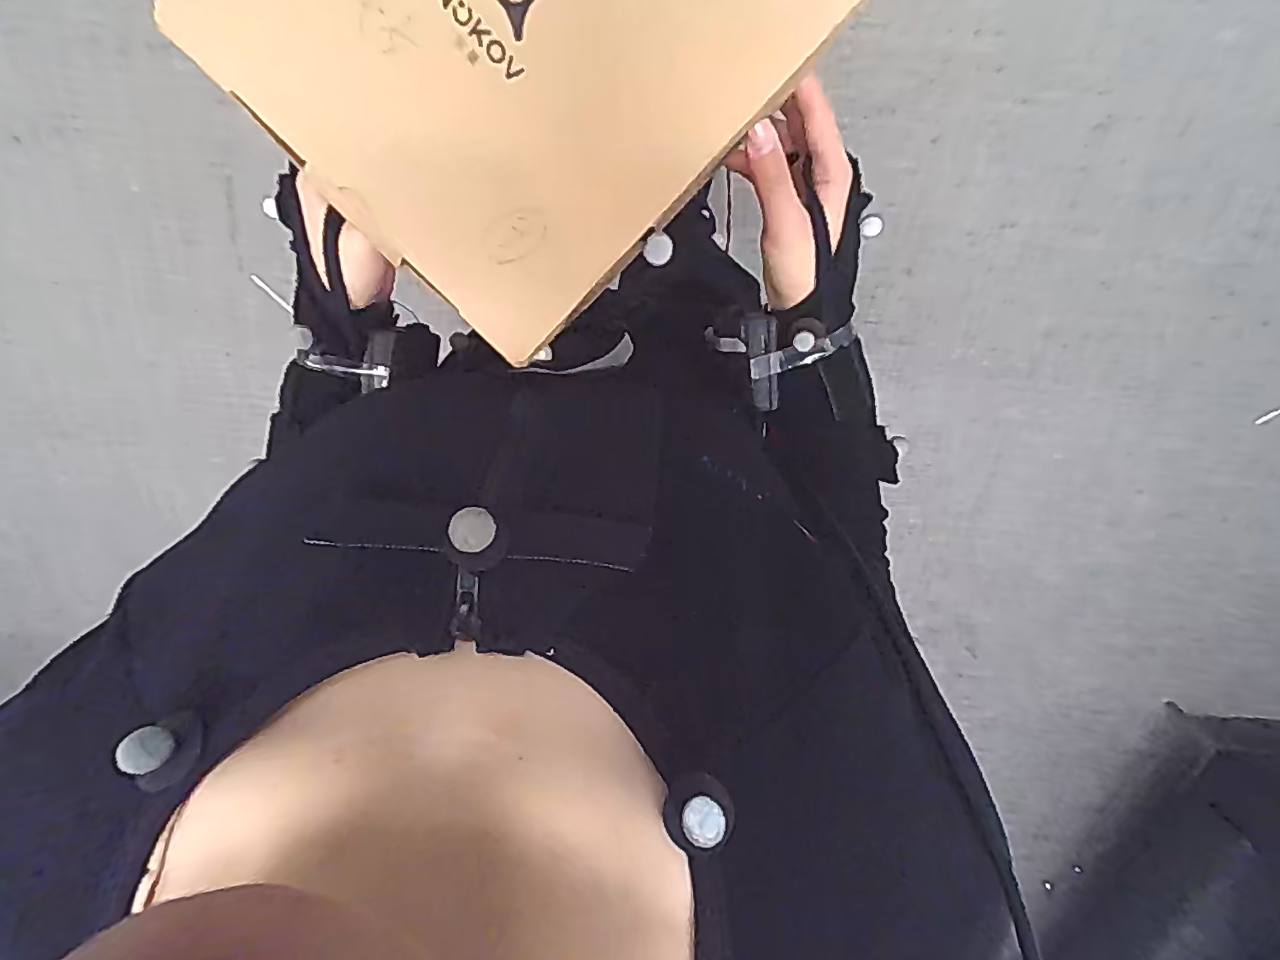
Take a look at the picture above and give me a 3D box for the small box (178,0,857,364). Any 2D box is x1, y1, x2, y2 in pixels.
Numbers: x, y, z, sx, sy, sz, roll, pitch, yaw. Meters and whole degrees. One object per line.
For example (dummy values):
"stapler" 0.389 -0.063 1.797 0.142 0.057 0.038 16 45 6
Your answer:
"small box" -0.038 -0.186 0.250 0.179 0.176 0.168 -40 106 20
